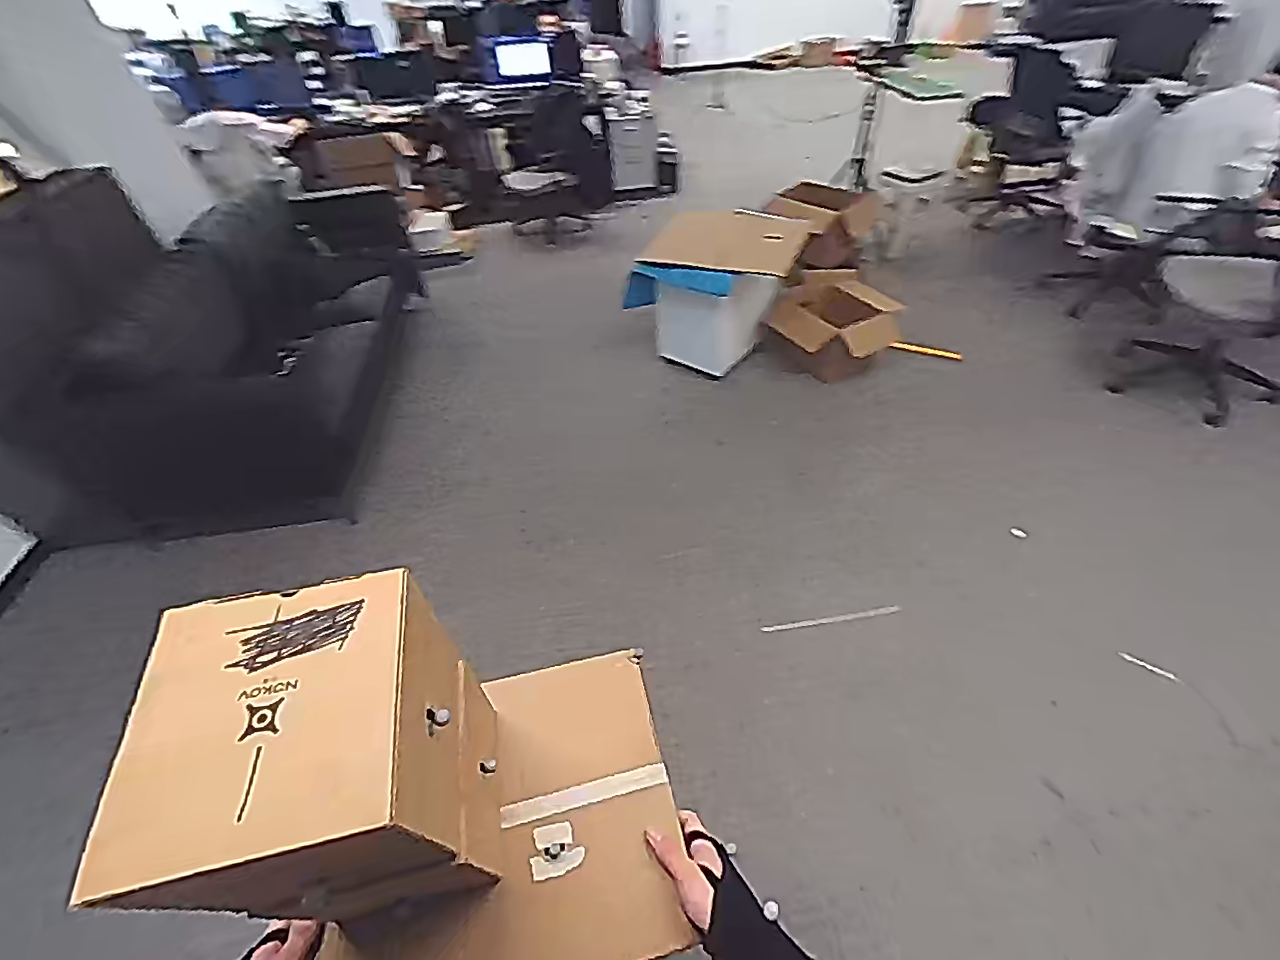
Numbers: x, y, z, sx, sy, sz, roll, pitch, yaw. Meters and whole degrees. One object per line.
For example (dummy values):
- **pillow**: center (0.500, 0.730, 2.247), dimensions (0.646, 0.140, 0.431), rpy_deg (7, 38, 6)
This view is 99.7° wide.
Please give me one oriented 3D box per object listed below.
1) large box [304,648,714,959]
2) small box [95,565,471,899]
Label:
- **large box**: center (-0.156, 0.470, 0.716), dimensions (0.408, 0.320, 0.320), rpy_deg (-9, 52, -10)
- **small box**: center (-0.232, 0.192, 0.414), dimensions (0.168, 0.176, 0.179), rpy_deg (-9, 51, -8)
